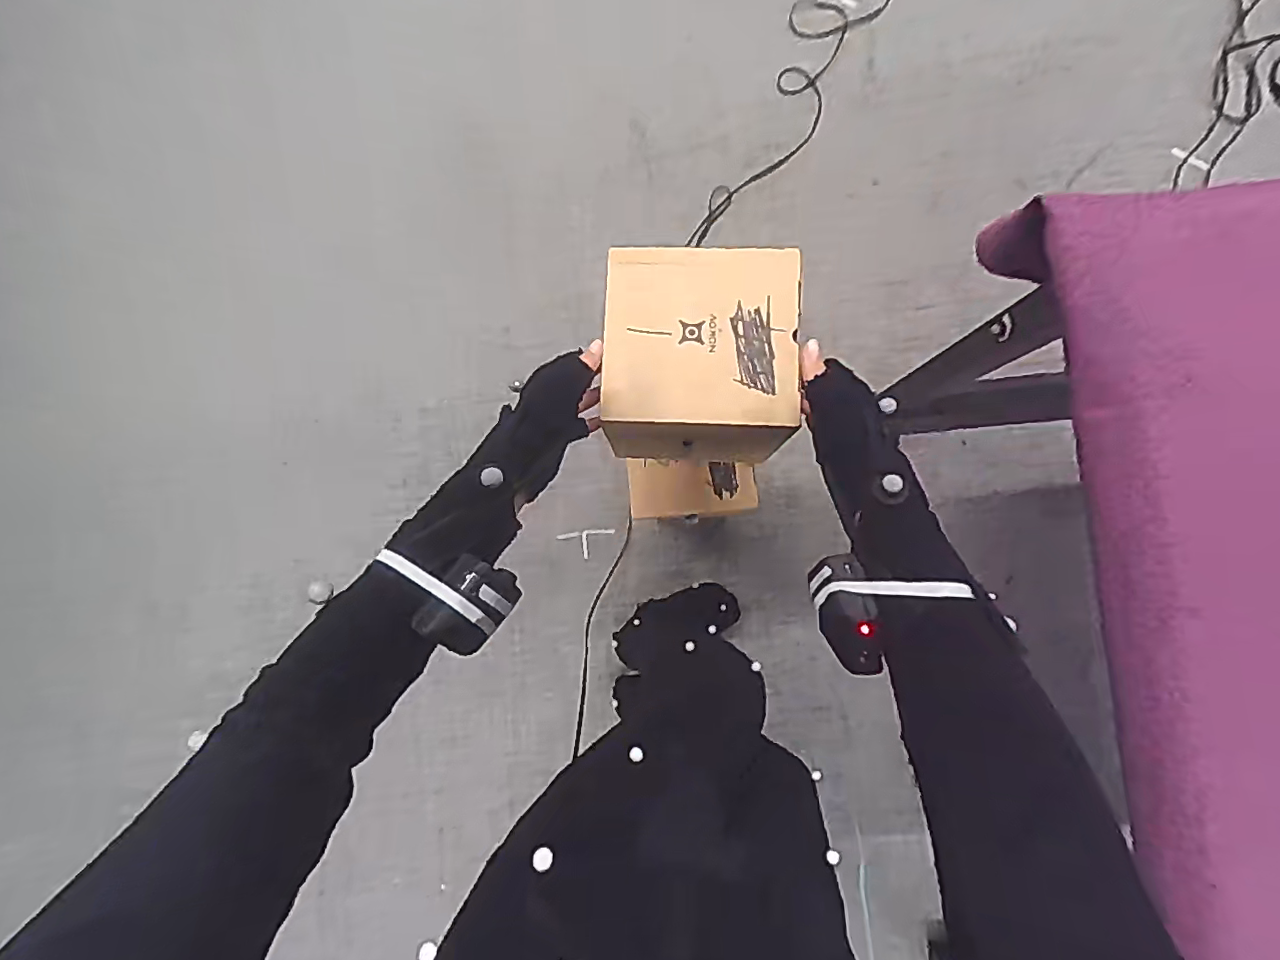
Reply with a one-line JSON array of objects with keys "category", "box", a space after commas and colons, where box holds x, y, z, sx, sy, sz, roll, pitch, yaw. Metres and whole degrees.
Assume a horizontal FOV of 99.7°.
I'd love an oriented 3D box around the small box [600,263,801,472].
[{"category": "small box", "box": [0.059, -0.104, 0.566, 0.179, 0.176, 0.168, 3, 81, 3]}]
